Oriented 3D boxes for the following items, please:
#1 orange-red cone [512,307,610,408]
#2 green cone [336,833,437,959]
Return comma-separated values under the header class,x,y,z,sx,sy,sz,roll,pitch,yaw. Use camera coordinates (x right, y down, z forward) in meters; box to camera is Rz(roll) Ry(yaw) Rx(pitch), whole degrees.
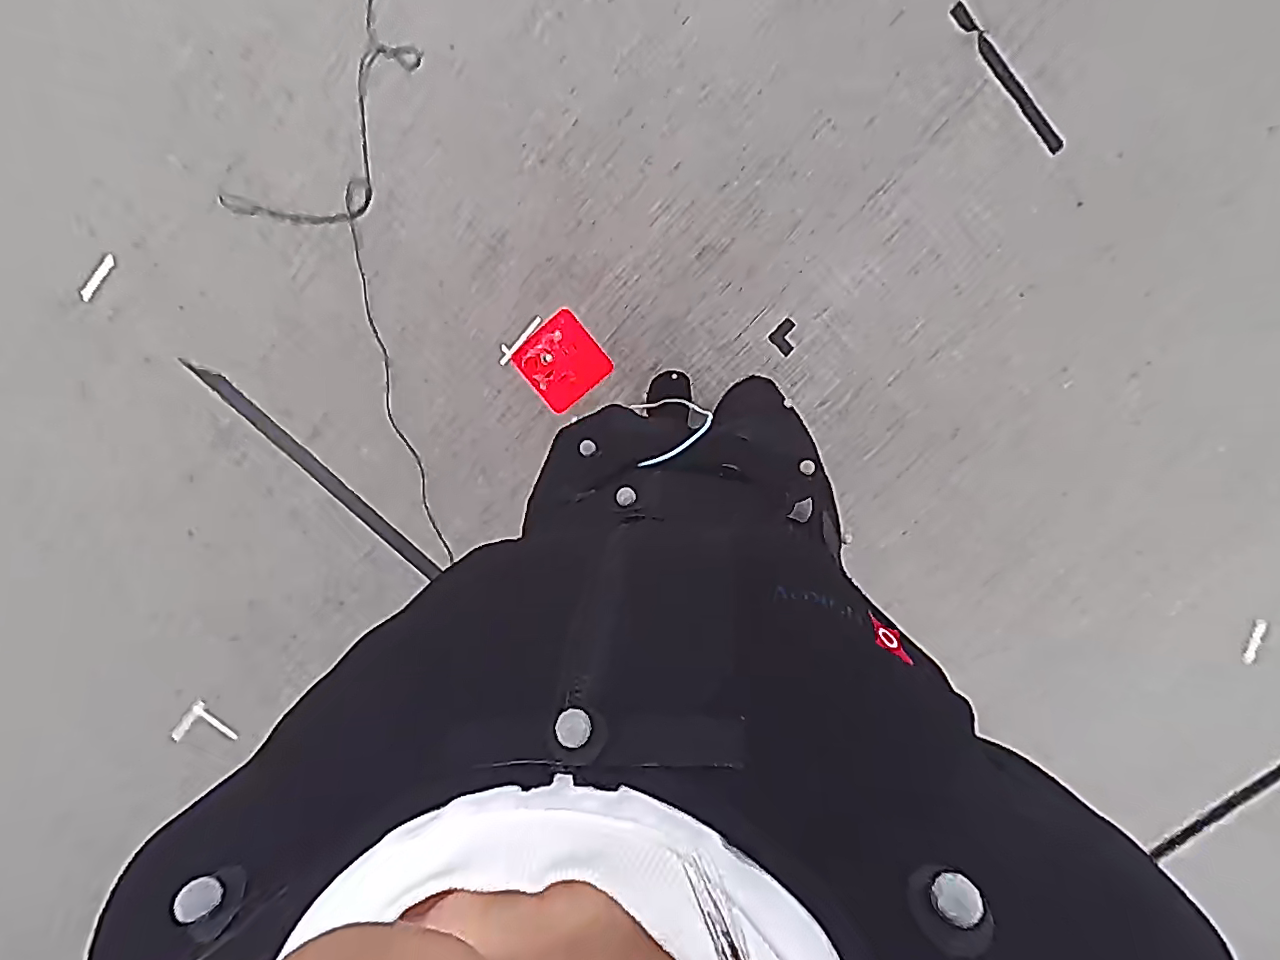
class,x,y,z,sx,sy,sz,roll,pitch,yaw
orange-red cone,-0.202,-0.265,1.197,0.198,0.360,0.199,-37,101,10
green cone,-0.780,1.277,1.571,0.202,0.368,0.200,29,102,-4
